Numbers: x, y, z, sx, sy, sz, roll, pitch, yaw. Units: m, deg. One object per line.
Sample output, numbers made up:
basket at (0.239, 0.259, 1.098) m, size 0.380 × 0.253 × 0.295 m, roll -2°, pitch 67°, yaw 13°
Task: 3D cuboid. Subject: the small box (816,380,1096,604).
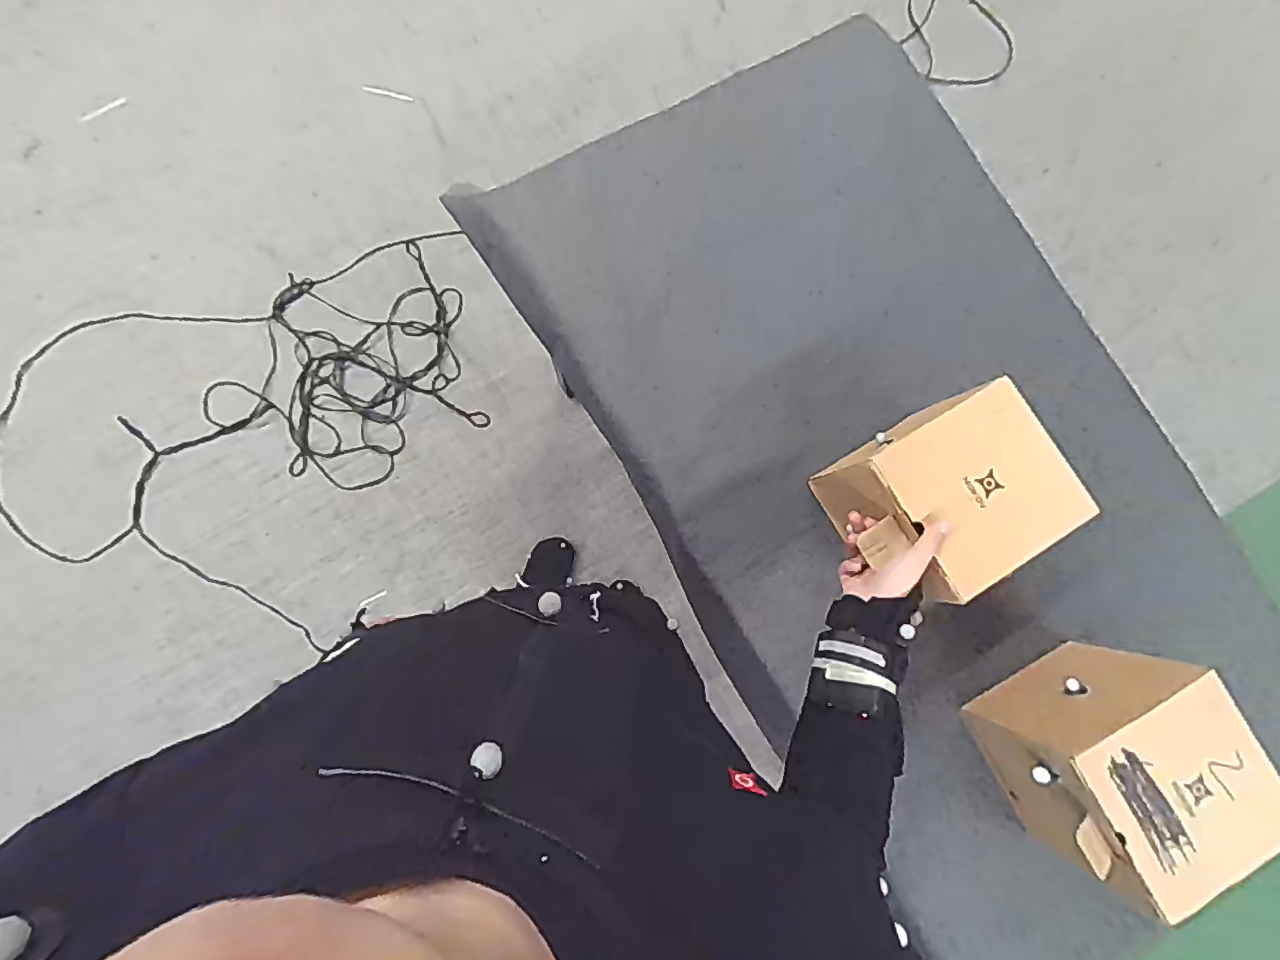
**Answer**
small box at (0.336, 0.017, 0.612) m, size 0.179 × 0.176 × 0.168 m, roll -31°, pitch 86°, yaw -7°
